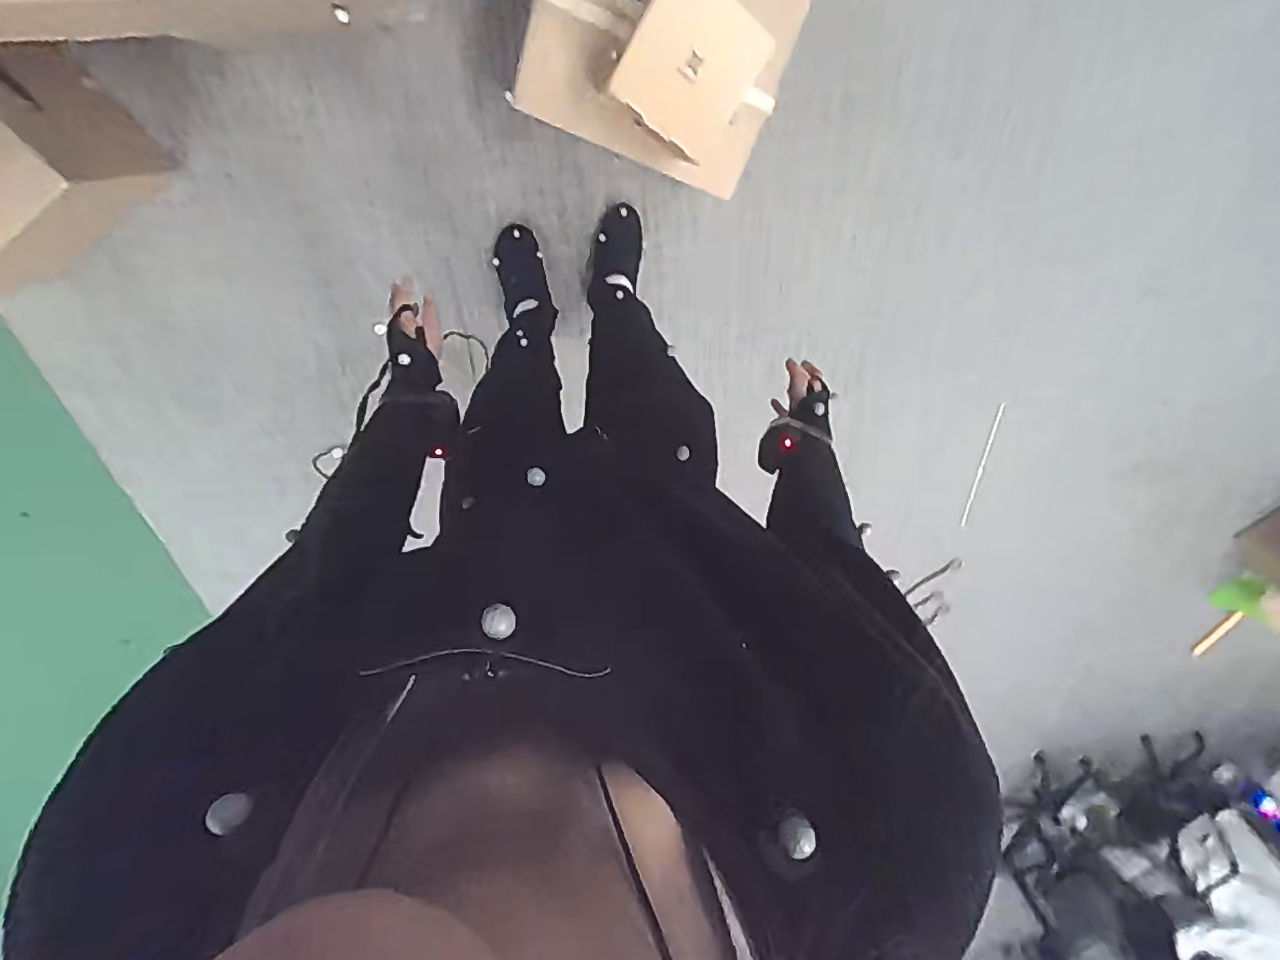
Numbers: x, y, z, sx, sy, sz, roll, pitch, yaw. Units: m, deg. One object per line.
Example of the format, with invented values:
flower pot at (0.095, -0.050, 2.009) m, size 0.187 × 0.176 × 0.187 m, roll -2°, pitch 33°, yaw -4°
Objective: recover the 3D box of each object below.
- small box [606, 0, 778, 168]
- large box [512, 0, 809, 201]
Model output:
small box at (0.062, -0.594, 0.785) m, size 0.168 × 0.176 × 0.179 m, roll 26°, pitch 117°, yaw -24°
large box at (0.014, -0.748, 0.973) m, size 0.408 × 0.320 × 0.320 m, roll 14°, pitch 118°, yaw -16°
